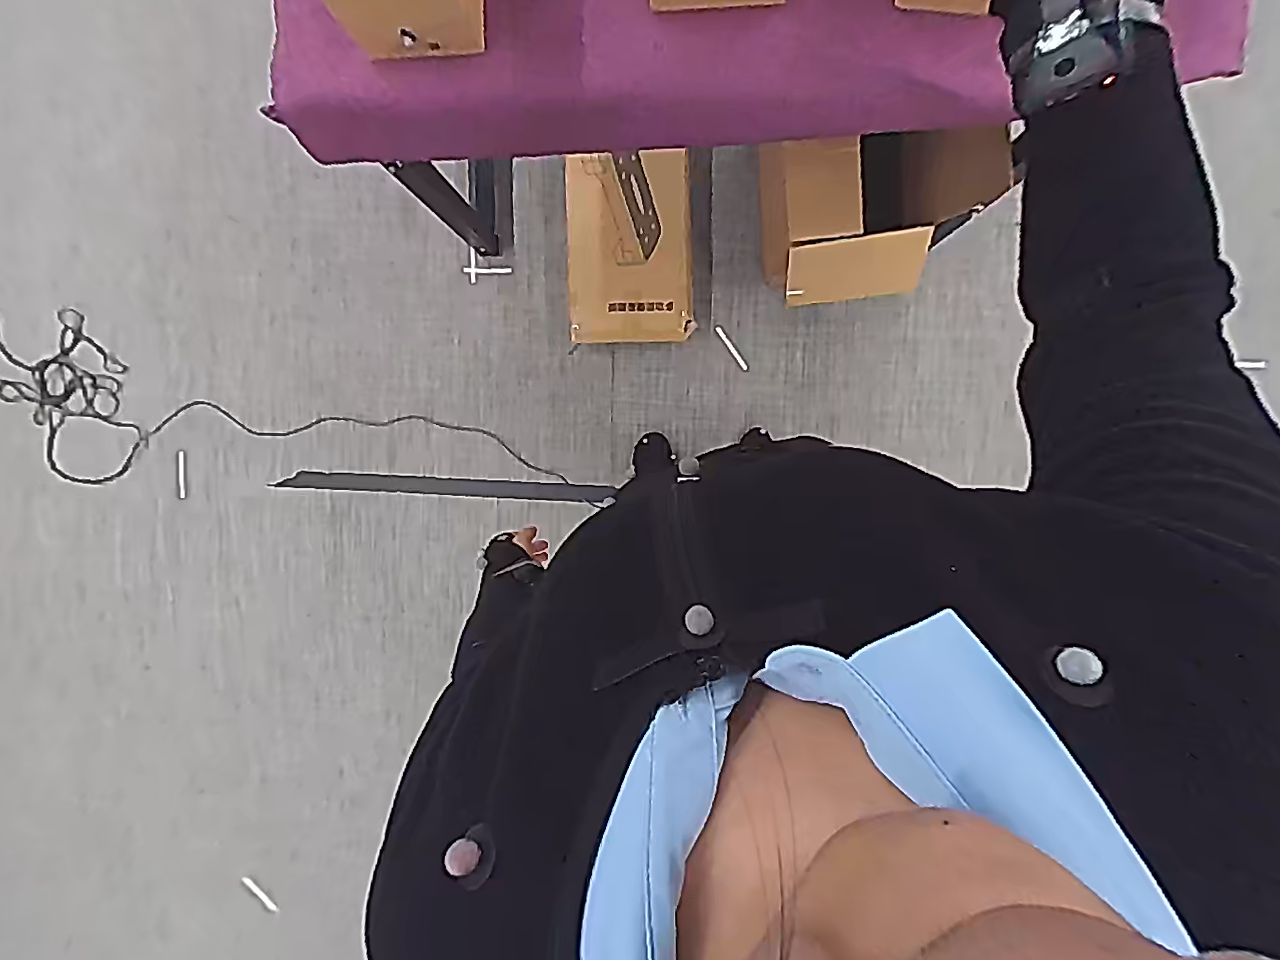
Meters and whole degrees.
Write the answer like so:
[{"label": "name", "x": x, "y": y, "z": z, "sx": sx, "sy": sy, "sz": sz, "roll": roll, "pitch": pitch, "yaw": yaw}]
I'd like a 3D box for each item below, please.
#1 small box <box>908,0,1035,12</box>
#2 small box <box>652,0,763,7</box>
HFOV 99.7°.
[{"label": "small box", "x": 0.413, "y": -0.670, "z": 0.600, "sx": 0.179, "sy": 0.176, "sz": 0.168, "roll": 7, "pitch": 95, "yaw": 3}, {"label": "small box", "x": 0.096, "y": -0.692, "z": 0.617, "sx": 0.179, "sy": 0.176, "sz": 0.168, "roll": 0, "pitch": 92, "yaw": 4}]
